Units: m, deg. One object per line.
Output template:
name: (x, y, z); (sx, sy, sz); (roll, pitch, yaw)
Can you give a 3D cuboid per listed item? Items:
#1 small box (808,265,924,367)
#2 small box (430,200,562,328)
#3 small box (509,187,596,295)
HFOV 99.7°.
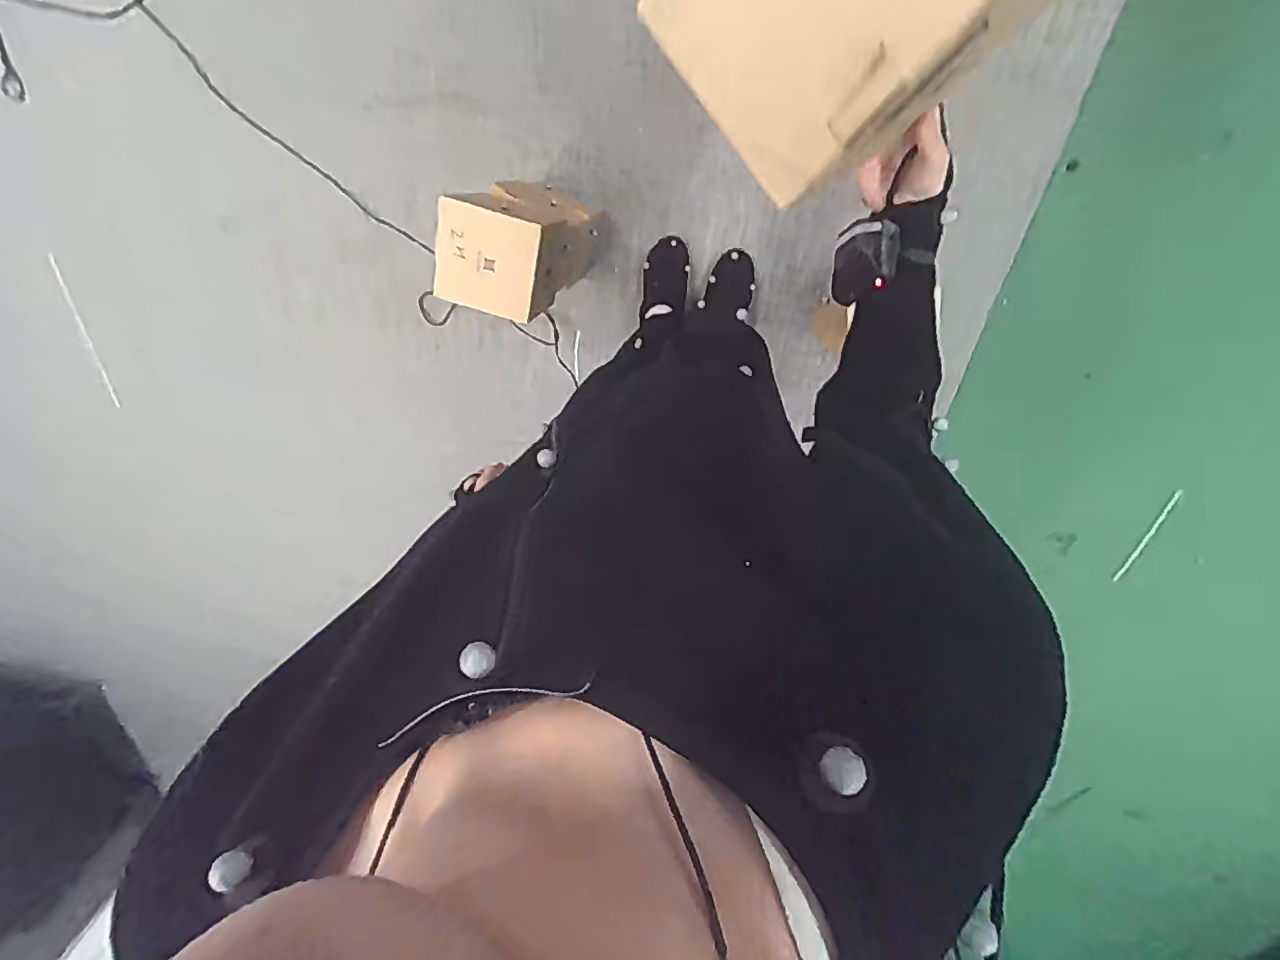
small box: (0.508, -0.386, 1.249); (0.179, 0.176, 0.168); (18, 121, -2)
small box: (-0.252, -0.395, 0.972); (0.179, 0.176, 0.168); (17, 119, 0)
small box: (-0.211, -0.559, 1.251); (0.168, 0.176, 0.179); (23, 121, -4)
